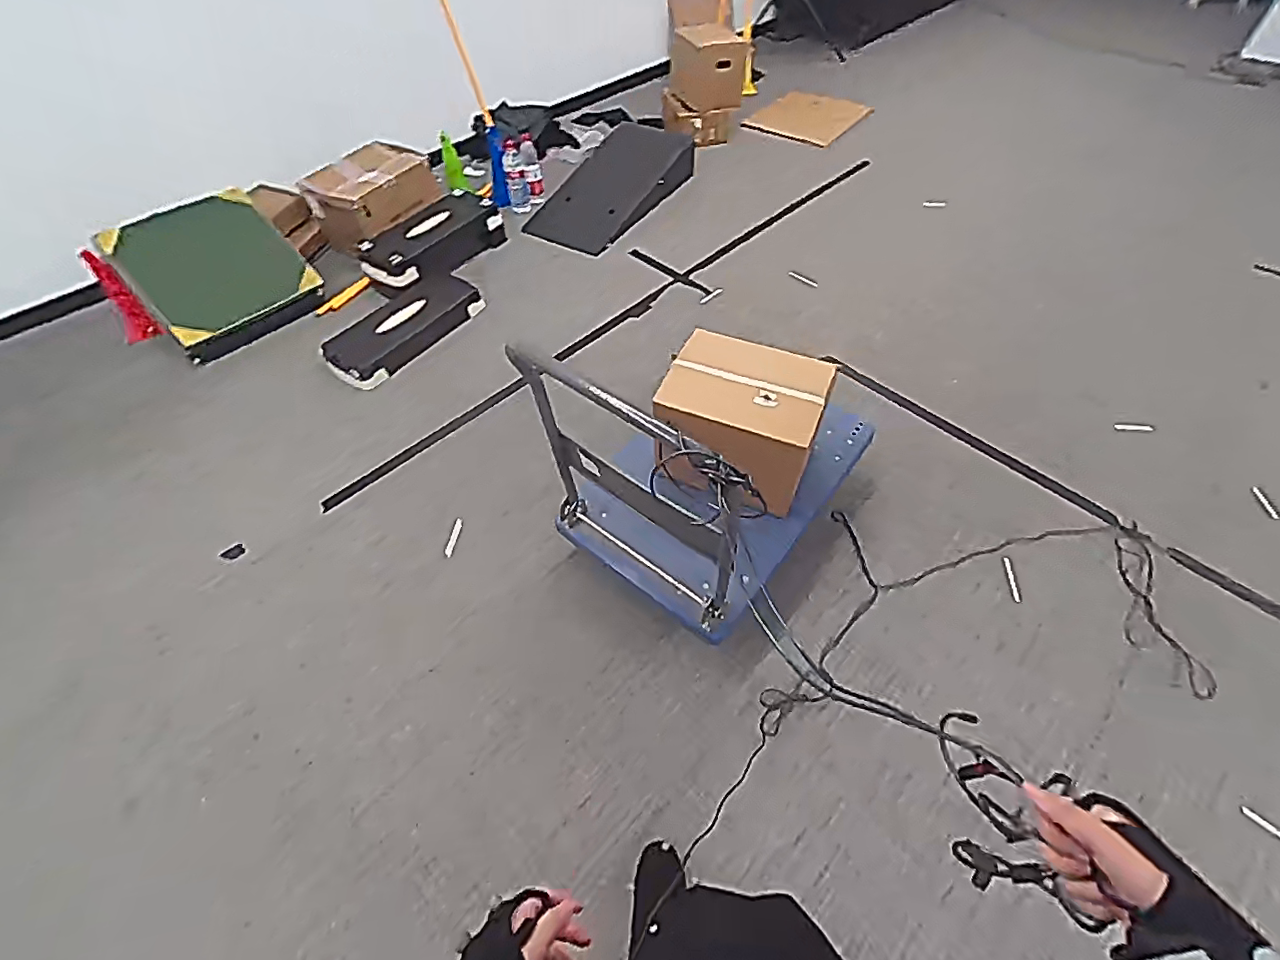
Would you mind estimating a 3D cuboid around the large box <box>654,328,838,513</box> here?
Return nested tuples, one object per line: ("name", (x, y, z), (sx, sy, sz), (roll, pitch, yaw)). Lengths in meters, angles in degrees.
("large box", (0.277, -0.164, 1.504), (0.408, 0.320, 0.320), (20, 58, 16))
